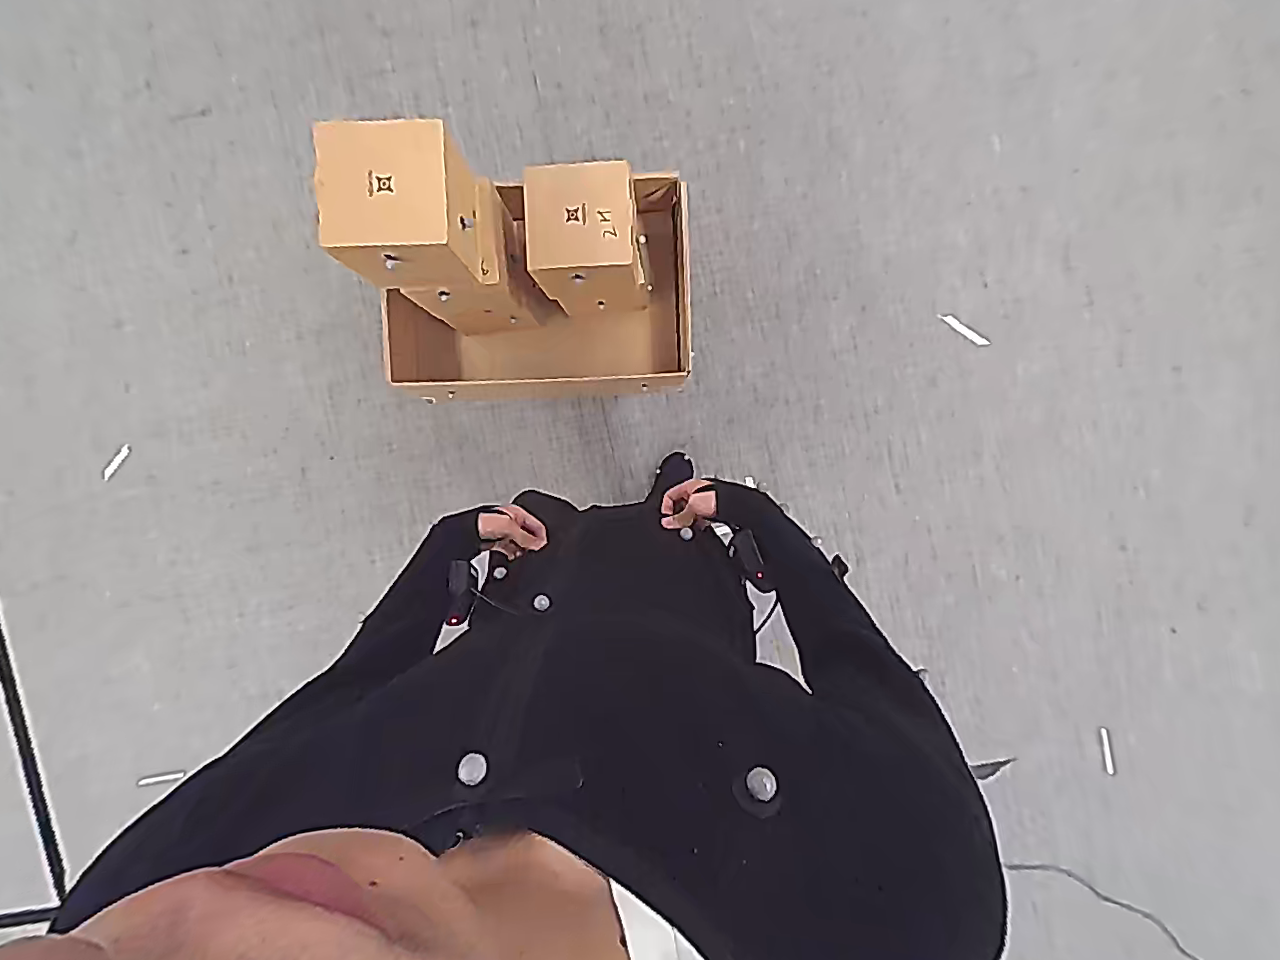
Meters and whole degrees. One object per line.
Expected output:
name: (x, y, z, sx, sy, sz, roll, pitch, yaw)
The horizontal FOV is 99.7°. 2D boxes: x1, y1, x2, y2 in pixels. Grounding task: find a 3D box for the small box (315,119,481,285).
small box: (-0.339, -0.395, 0.794, 0.179, 0.176, 0.168, -2, 92, 1)
